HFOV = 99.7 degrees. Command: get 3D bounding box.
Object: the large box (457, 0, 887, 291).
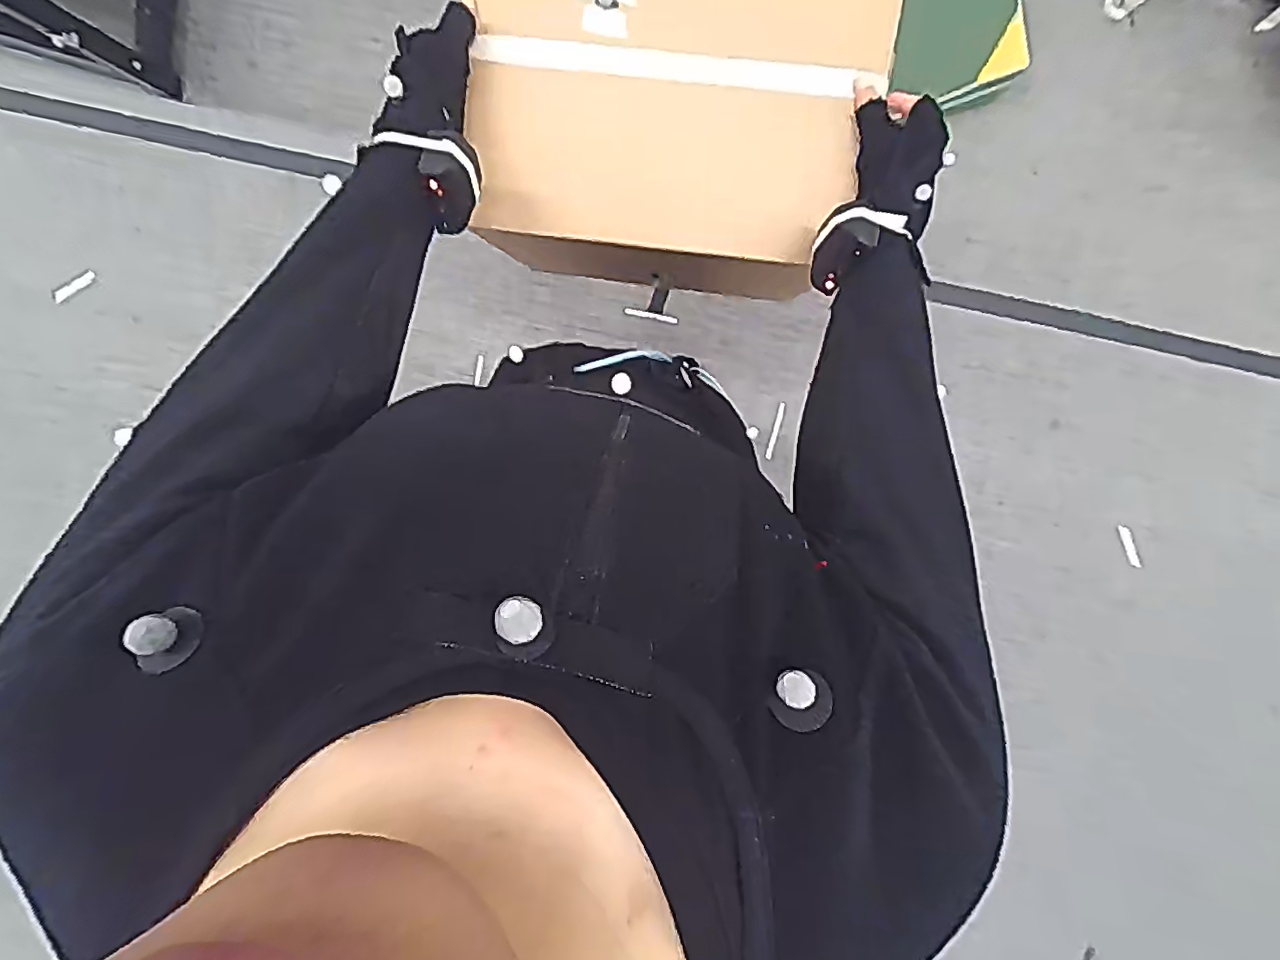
[{"bbox_3d":[0.035,-0.425,0.663,0.408,0.320,0.320,8,102,2],"label":"large box"}]
